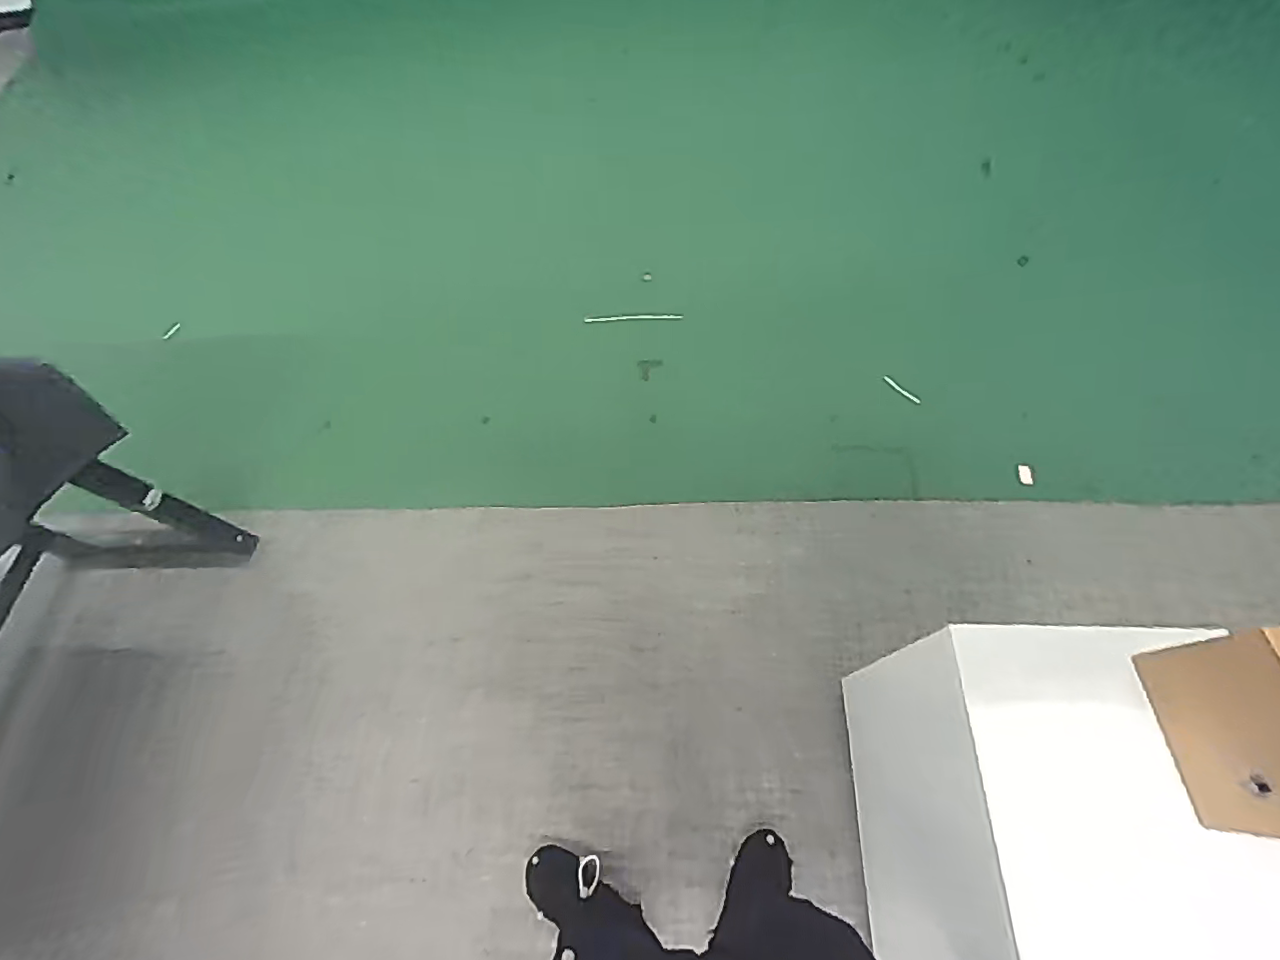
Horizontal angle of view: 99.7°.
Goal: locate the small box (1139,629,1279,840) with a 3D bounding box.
[{"bbox_3d":[0.649,0.242,0.513,0.168,0.176,0.179,-4,63,3],"label":"small box"}]
